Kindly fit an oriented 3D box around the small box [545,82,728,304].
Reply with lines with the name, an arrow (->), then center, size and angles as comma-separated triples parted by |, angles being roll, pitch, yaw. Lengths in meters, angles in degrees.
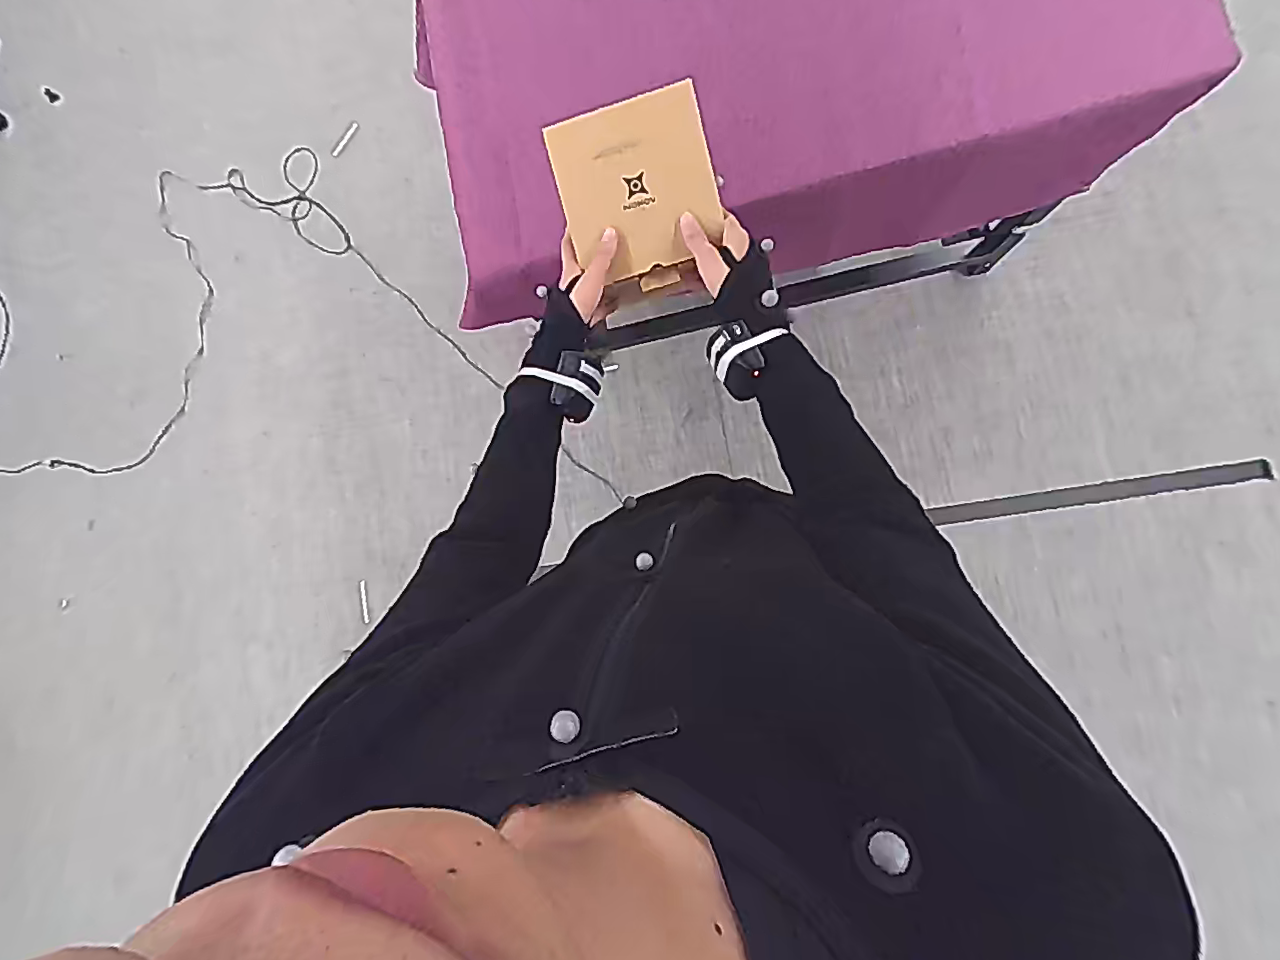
small box -> 0.004, -0.322, 0.652 | 0.168, 0.176, 0.179 | -14, 98, 6
